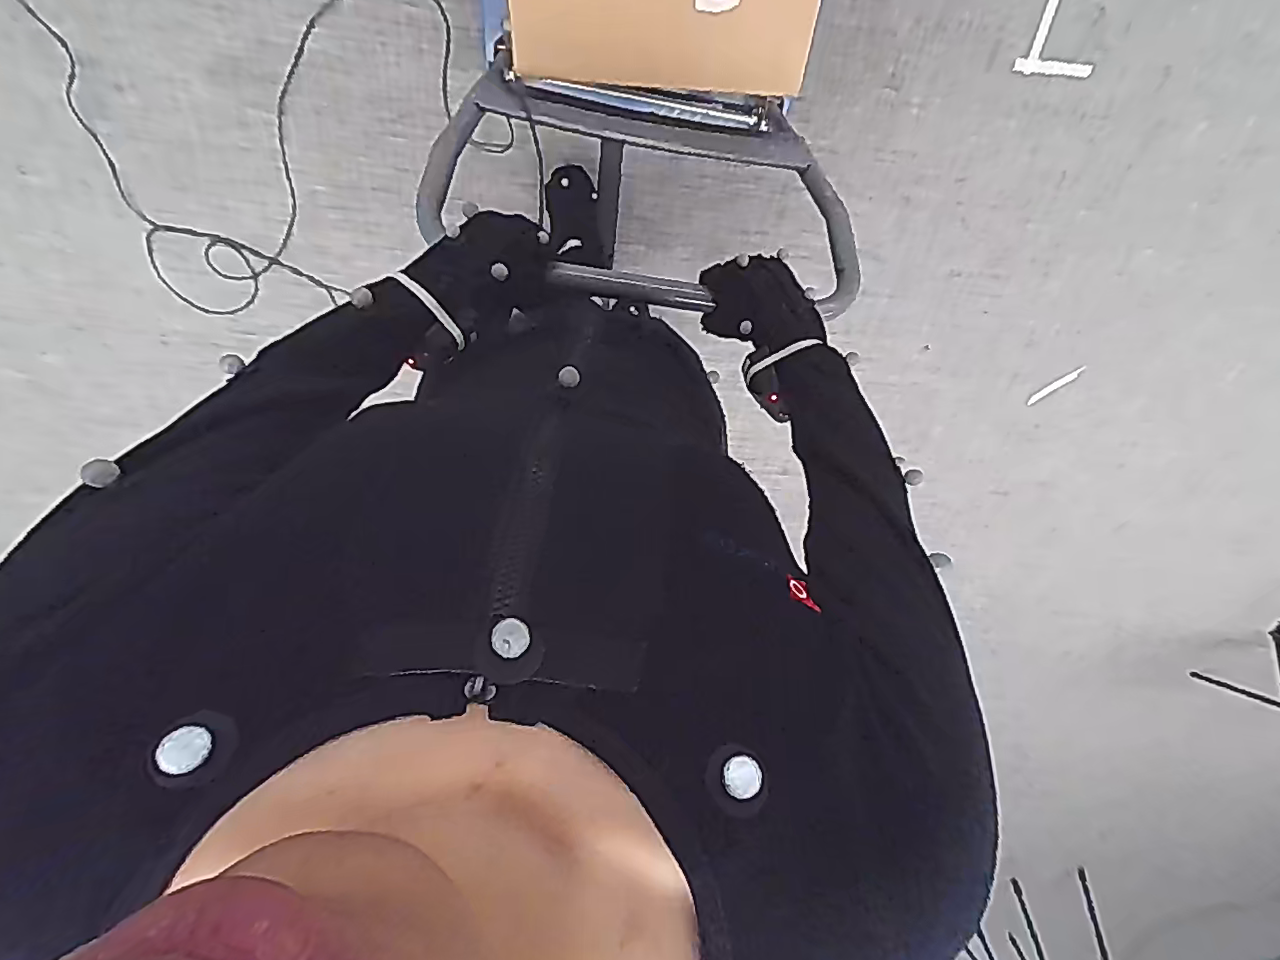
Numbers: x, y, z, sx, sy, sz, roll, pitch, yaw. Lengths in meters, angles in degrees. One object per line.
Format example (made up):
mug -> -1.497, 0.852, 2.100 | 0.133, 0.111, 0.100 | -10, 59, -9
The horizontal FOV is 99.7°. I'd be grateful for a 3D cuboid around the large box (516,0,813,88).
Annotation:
large box -> 0.029, -0.785, 0.774 | 0.408, 0.320, 0.320 | 1, 136, -4
